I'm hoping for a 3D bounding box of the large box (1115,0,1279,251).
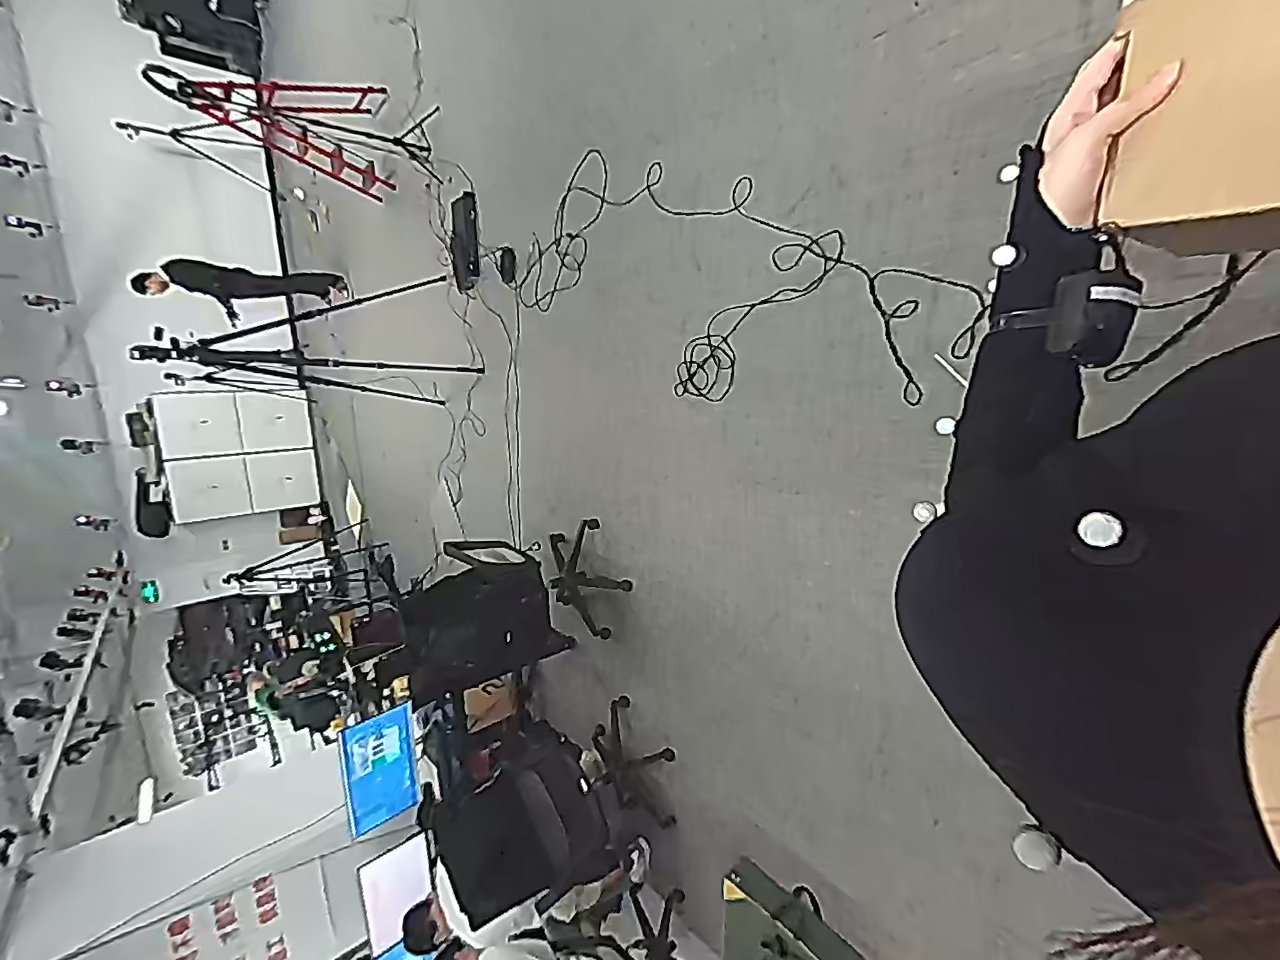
[{"bbox_3d":[0.589,-0.338,0.314,0.408,0.320,0.320,15,113,48],"label":"large box"}]
